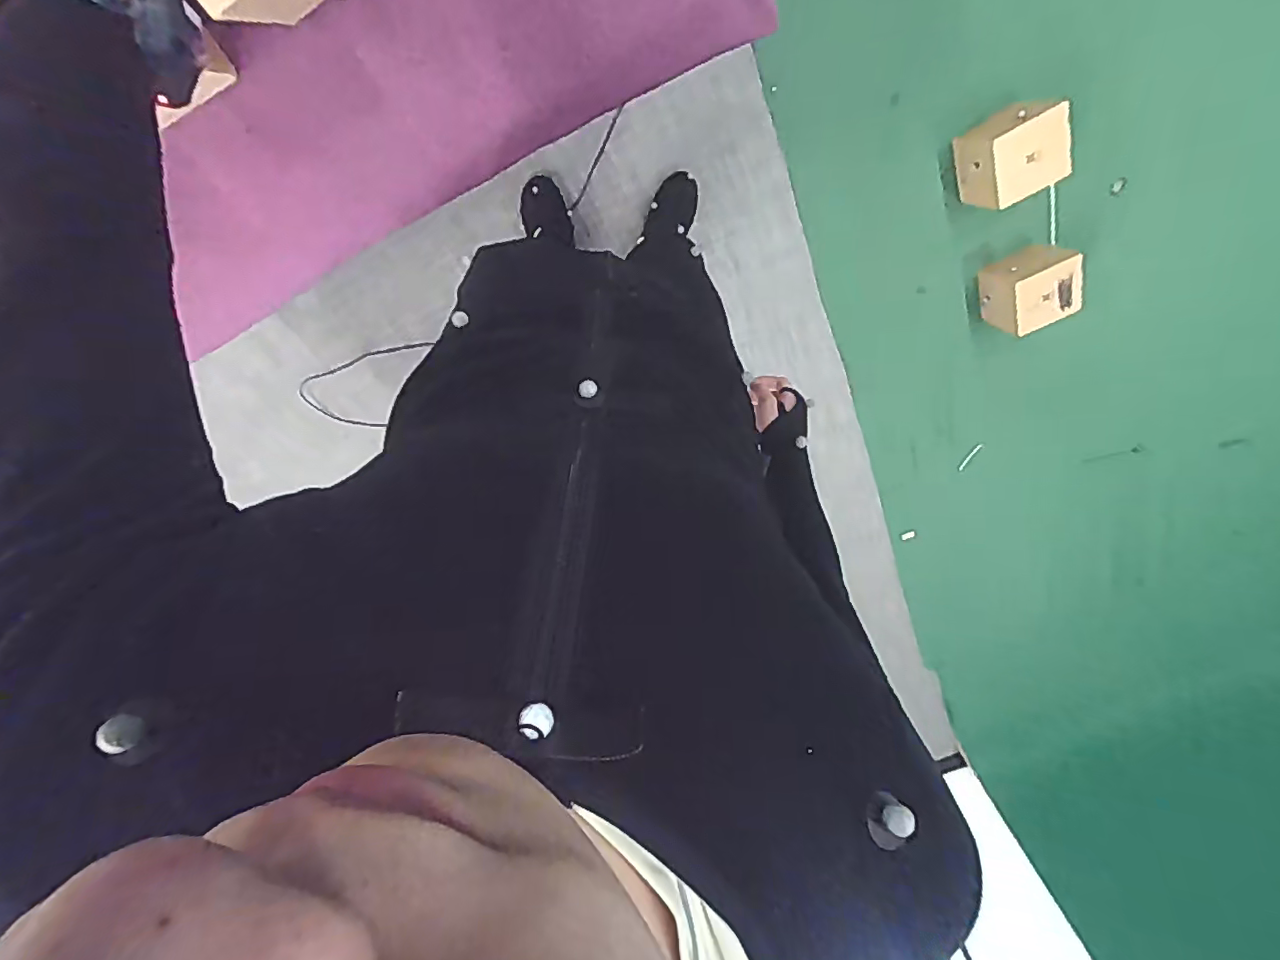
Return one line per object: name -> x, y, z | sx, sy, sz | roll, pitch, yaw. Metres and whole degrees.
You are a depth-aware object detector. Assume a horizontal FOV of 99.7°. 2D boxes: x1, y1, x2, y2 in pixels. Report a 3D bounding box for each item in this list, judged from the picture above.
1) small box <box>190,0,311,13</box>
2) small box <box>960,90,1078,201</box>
small box -> -0.336, -0.526, 0.441 | 0.168, 0.176, 0.179 | -24, 128, 14
small box -> 0.907, -0.806, 1.310 | 0.179, 0.176, 0.168 | -27, 122, 10
